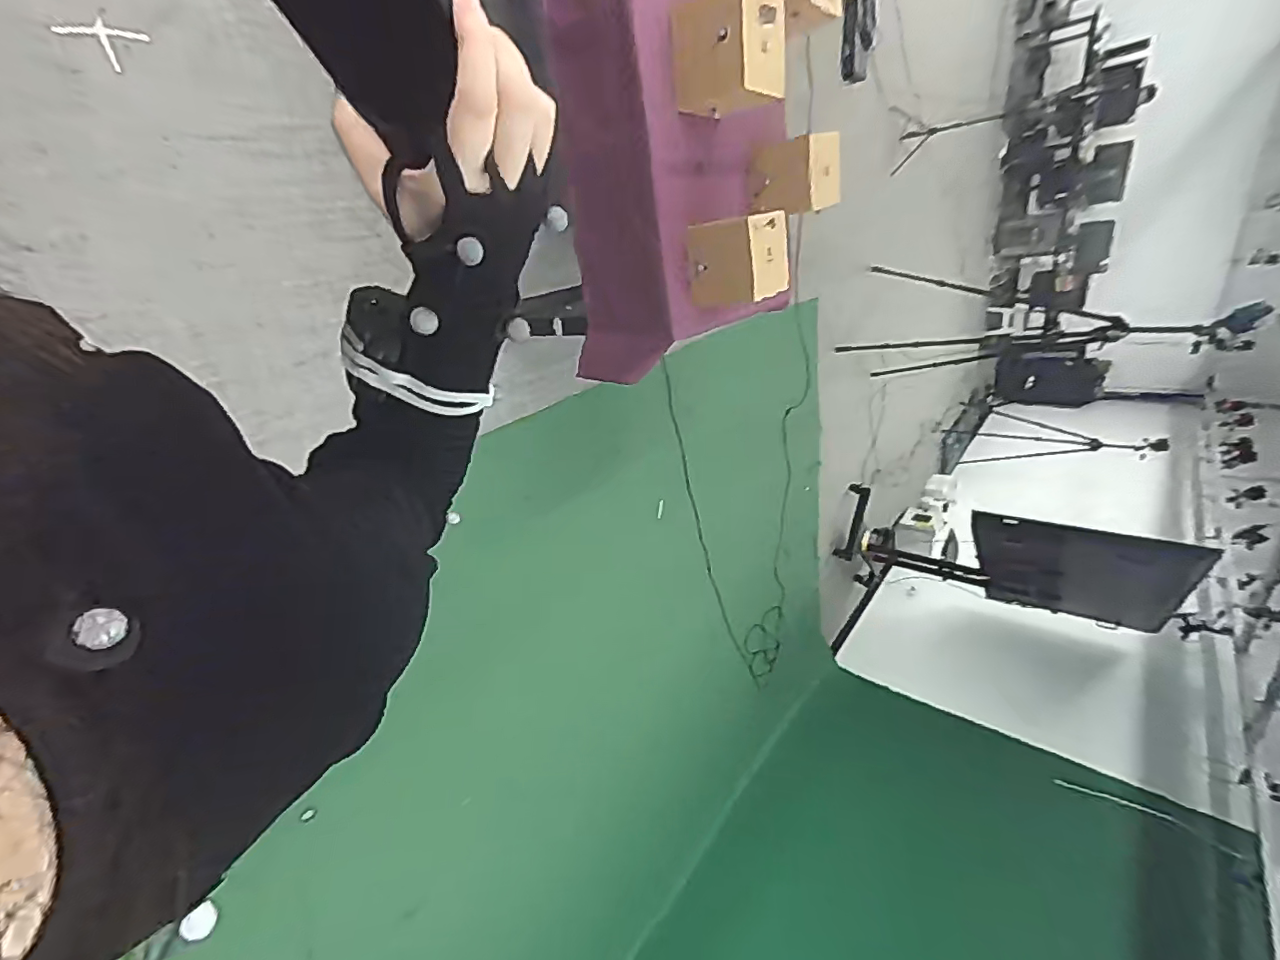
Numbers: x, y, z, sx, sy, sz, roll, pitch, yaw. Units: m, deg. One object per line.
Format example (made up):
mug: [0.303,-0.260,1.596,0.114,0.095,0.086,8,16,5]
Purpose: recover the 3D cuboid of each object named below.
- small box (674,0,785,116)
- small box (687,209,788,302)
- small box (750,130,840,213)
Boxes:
small box: [0.183,-0.878,1.110,0.168,0.176,0.179,-29,122,-42]
small box: [0.228,-0.519,1.257,0.168,0.176,0.179,-34,124,-41]
small box: [0.401,-0.787,1.390,0.179,0.176,0.168,-35,124,-39]
